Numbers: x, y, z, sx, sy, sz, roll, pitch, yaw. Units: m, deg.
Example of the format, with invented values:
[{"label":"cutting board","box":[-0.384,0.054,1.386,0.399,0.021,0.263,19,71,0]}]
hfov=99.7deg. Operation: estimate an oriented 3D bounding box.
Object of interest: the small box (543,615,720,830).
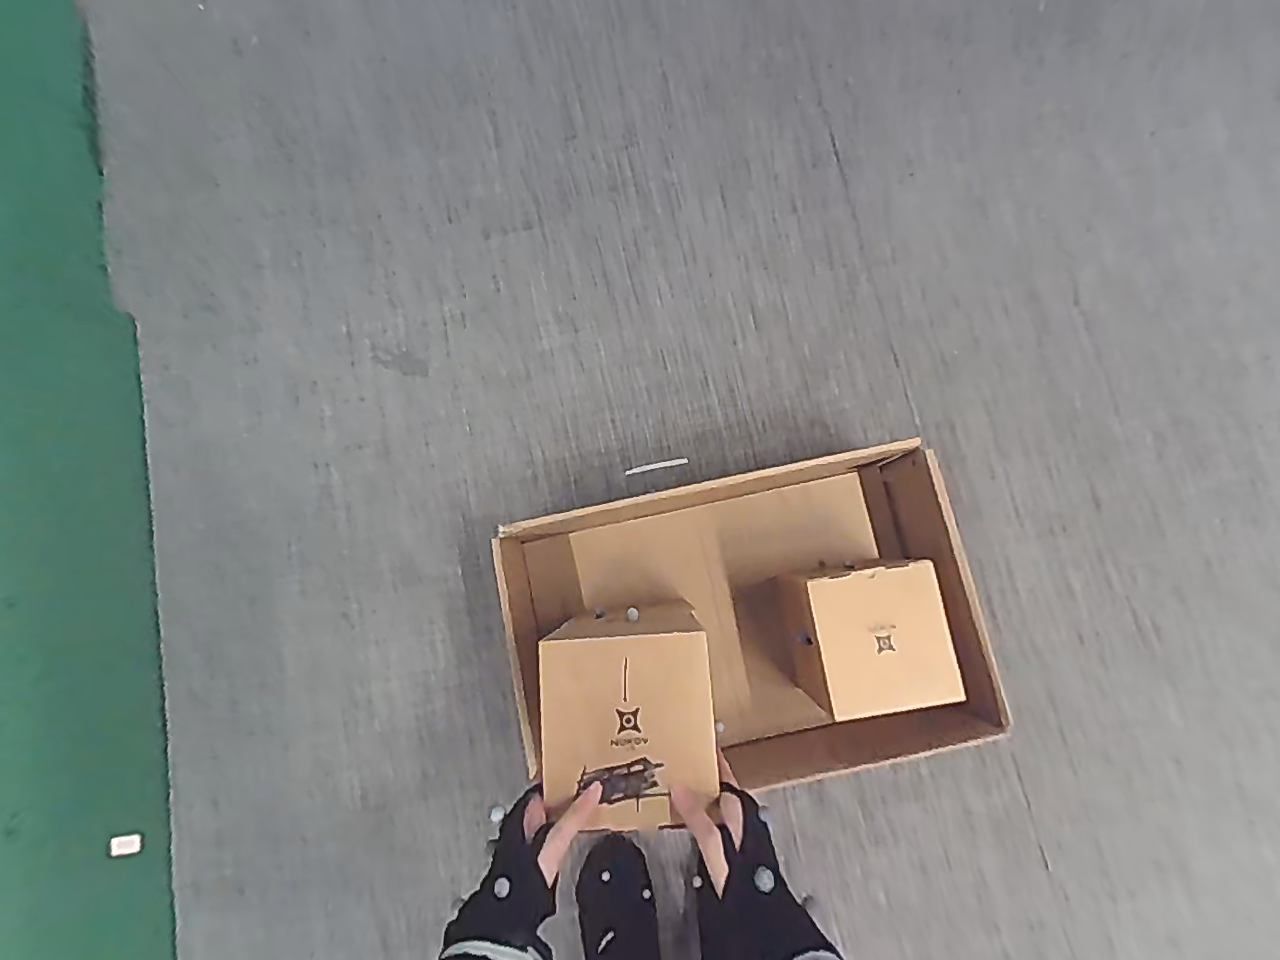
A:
[{"label":"small box","box":[-0.007,0.248,0.592,0.168,0.176,0.179,-4,80,1]}]
